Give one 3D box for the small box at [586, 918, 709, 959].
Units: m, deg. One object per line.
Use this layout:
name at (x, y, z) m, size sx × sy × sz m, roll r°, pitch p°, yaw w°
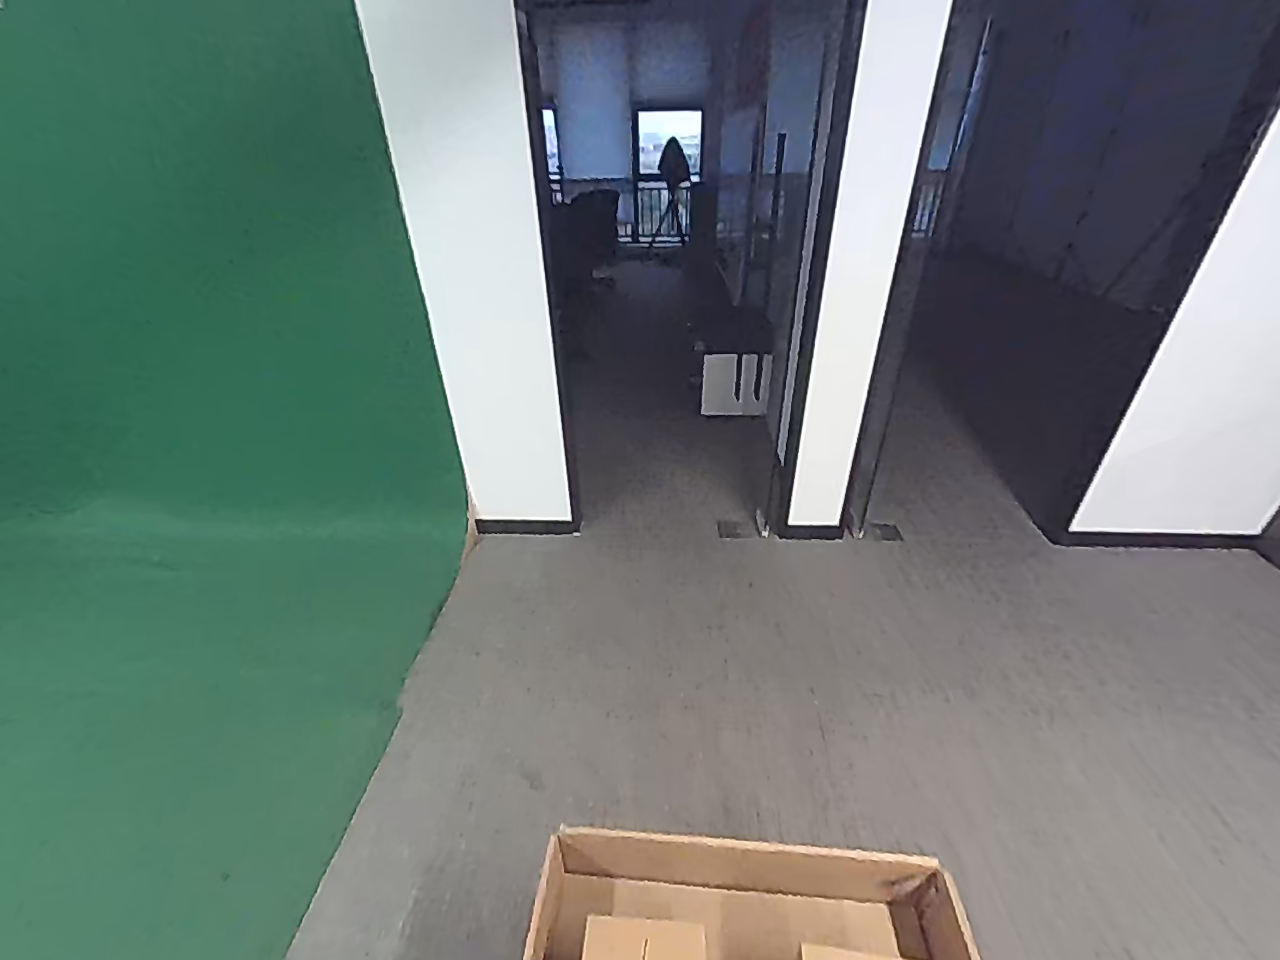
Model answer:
small box at (0.009, 0.725, 0.714) m, size 0.168 × 0.176 × 0.179 m, roll 1°, pitch 31°, yaw 5°
